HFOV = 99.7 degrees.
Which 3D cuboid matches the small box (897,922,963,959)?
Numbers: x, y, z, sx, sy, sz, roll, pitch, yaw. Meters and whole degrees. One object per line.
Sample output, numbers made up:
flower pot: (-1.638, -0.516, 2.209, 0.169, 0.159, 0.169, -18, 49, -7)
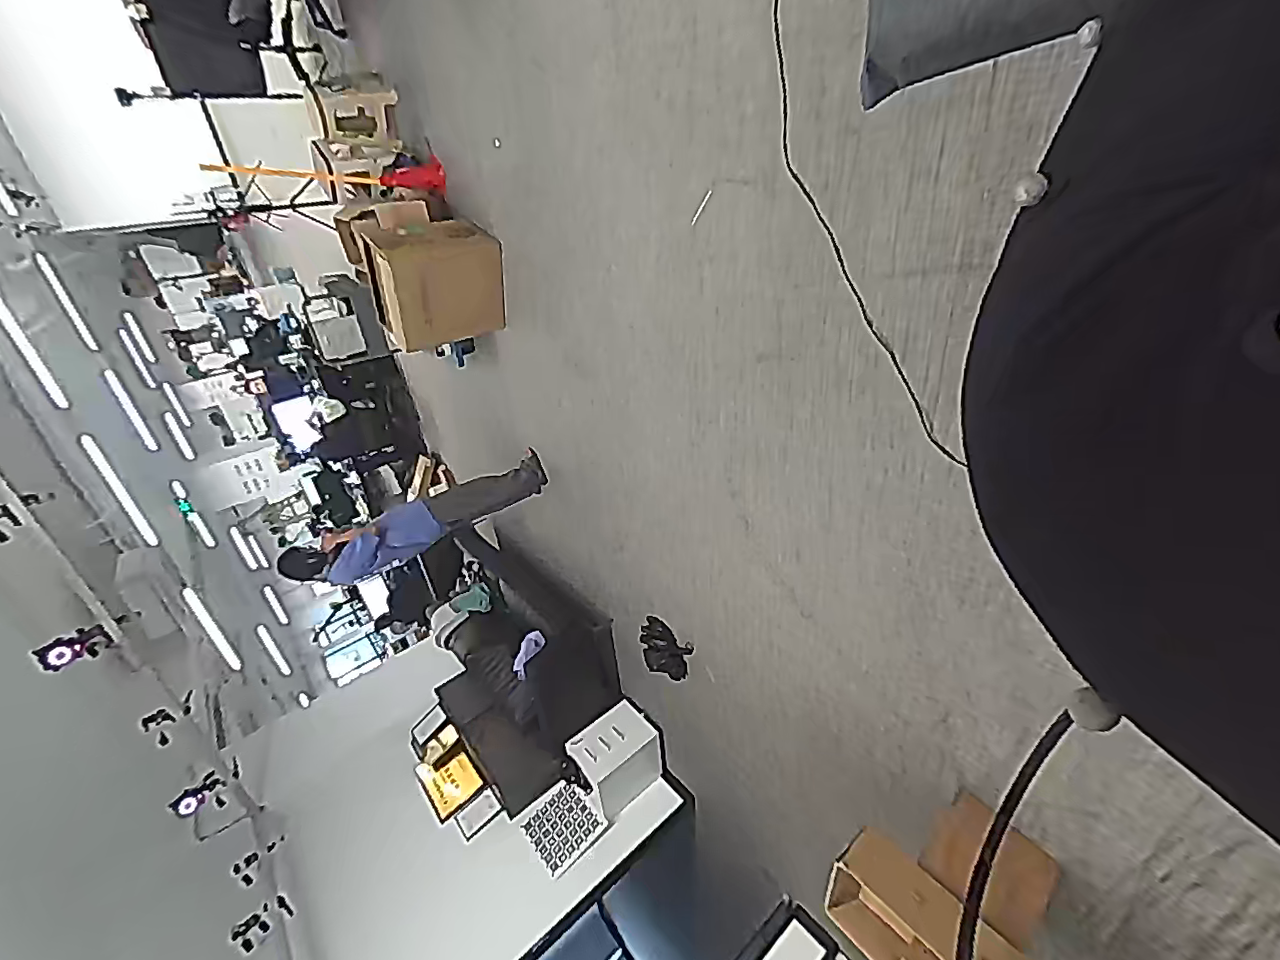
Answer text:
small box: (0.908, 1.542, 1.688, 0.168, 0.176, 0.179, 31, 138, 45)
